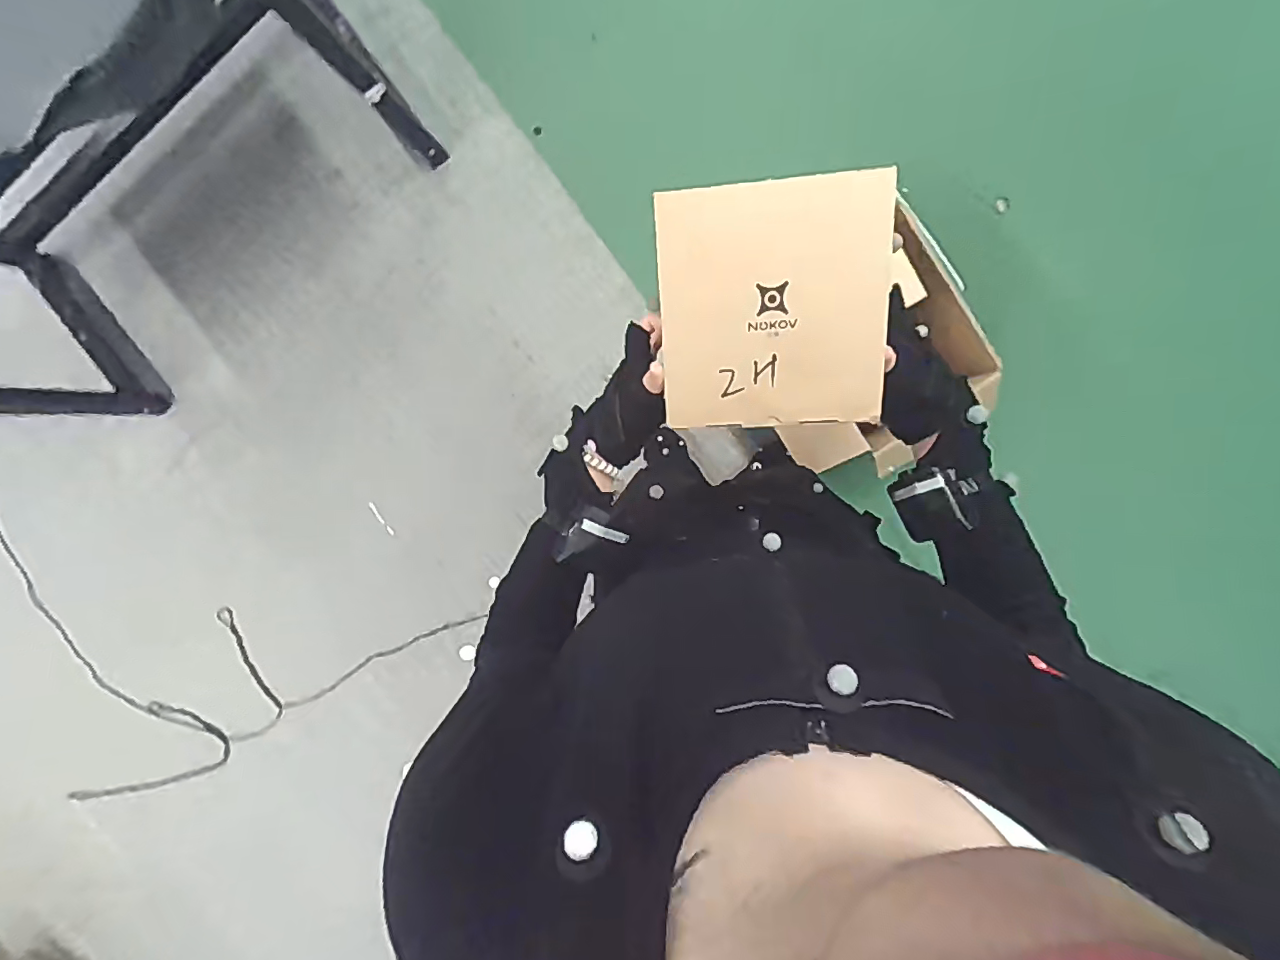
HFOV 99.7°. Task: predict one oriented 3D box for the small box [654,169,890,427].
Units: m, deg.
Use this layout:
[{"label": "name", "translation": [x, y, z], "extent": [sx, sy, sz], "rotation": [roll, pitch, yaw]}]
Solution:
[{"label": "small box", "translation": [0.103, -0.150, 0.475], "extent": [0.168, 0.176, 0.179], "rotation": [-1, 108, 9]}]
